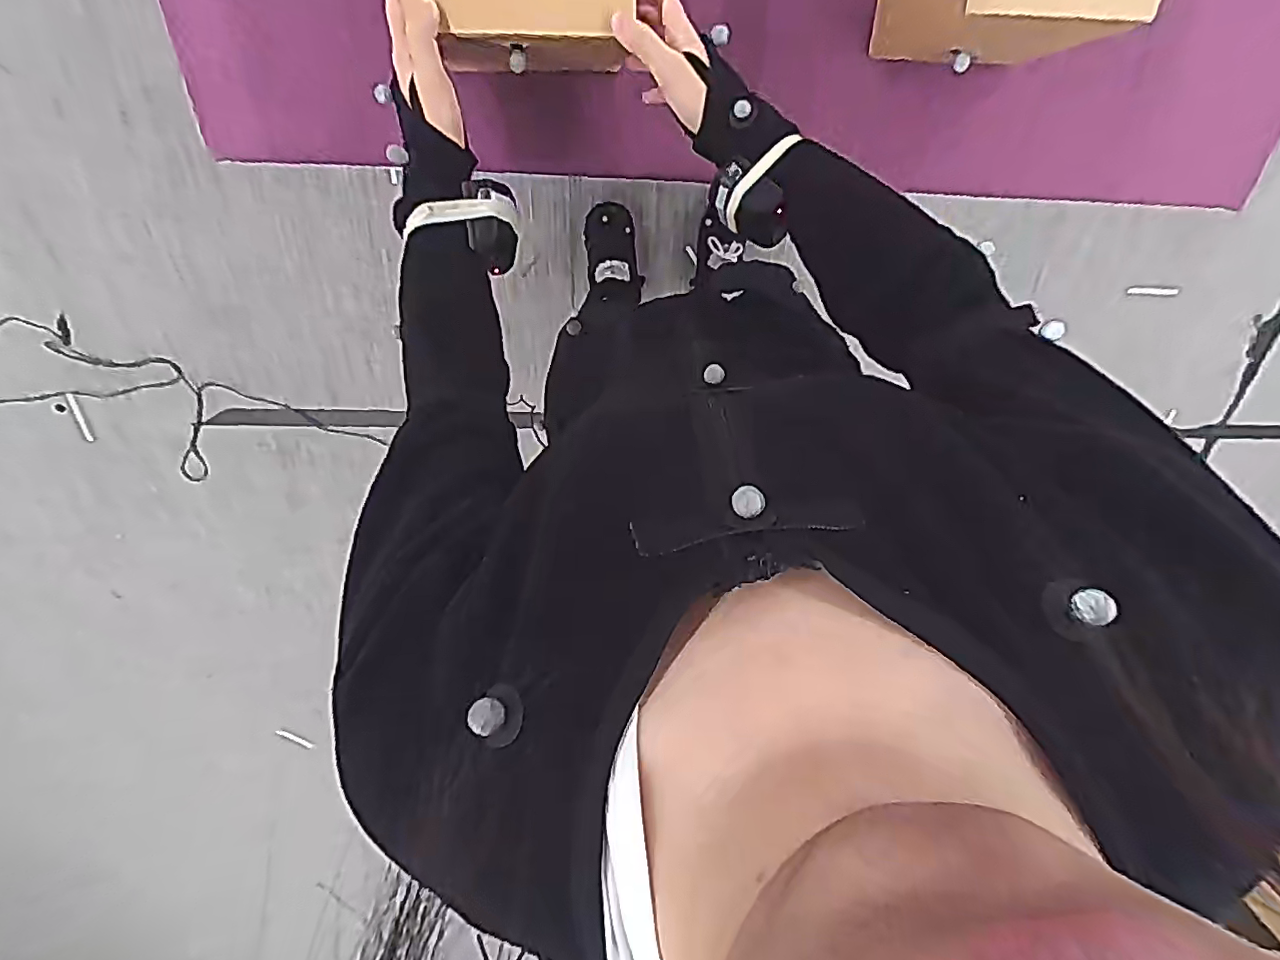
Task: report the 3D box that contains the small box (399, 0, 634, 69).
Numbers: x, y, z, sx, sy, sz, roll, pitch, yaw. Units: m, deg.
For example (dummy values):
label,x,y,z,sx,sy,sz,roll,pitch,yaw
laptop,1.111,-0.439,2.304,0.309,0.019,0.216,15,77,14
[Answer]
label,x,y,z,sx,sy,sz,roll,pitch,yaw
small box,-0.100,-0.451,0.441,0.179,0.176,0.168,-3,121,-4

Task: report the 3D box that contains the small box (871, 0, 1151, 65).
label,x,y,z,sx,sy,sz,roll,pitch,yaw
small box,0.326,-0.488,0.467,0.168,0.176,0.179,-1,119,-5
